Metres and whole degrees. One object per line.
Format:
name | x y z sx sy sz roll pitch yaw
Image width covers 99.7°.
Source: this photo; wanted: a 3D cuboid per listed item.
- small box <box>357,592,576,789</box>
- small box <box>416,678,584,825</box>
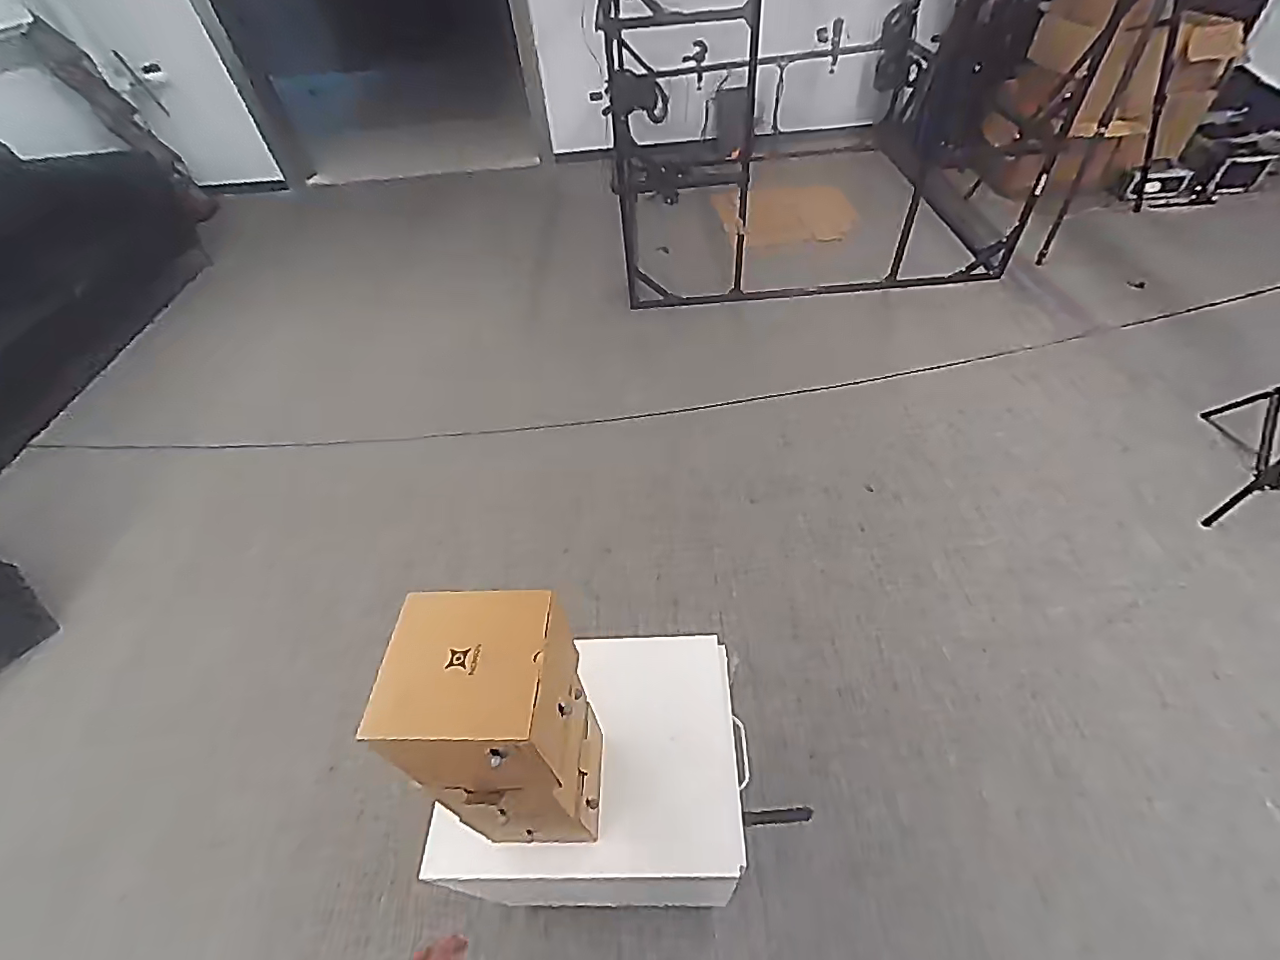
small box | -0.181 0.246 0.627 0.179 0.176 0.168 -1 47 4
small box | -0.177 0.355 0.749 0.168 0.176 0.179 -1 47 6
